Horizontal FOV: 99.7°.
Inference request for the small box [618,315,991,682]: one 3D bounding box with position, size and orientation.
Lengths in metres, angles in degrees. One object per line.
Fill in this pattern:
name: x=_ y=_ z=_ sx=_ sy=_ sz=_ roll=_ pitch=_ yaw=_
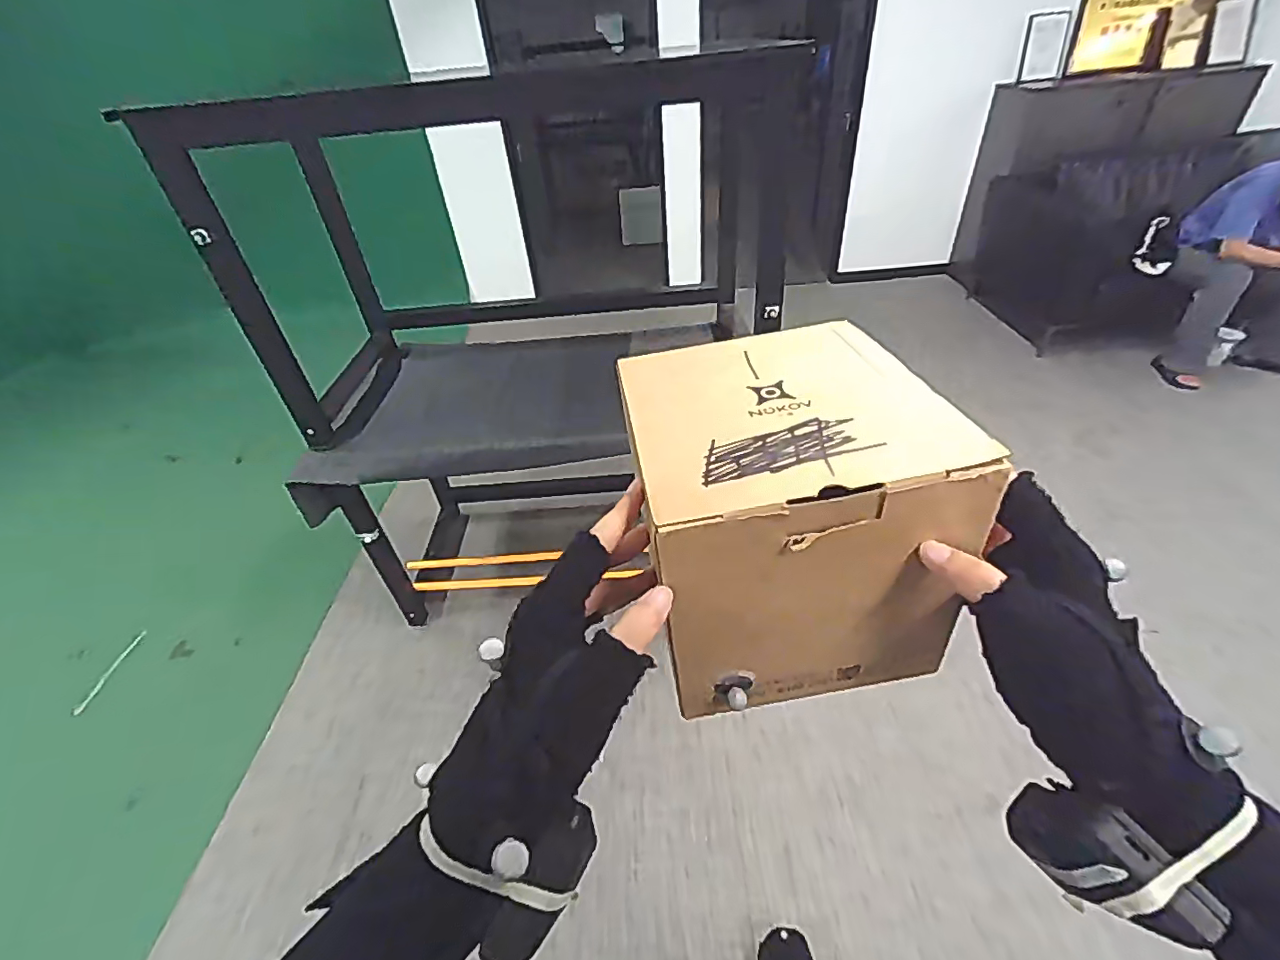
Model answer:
small box: x=0.084 y=0.012 z=0.360 sx=0.168 sy=0.176 sz=0.179 roll=-10 pitch=36 yaw=-1
